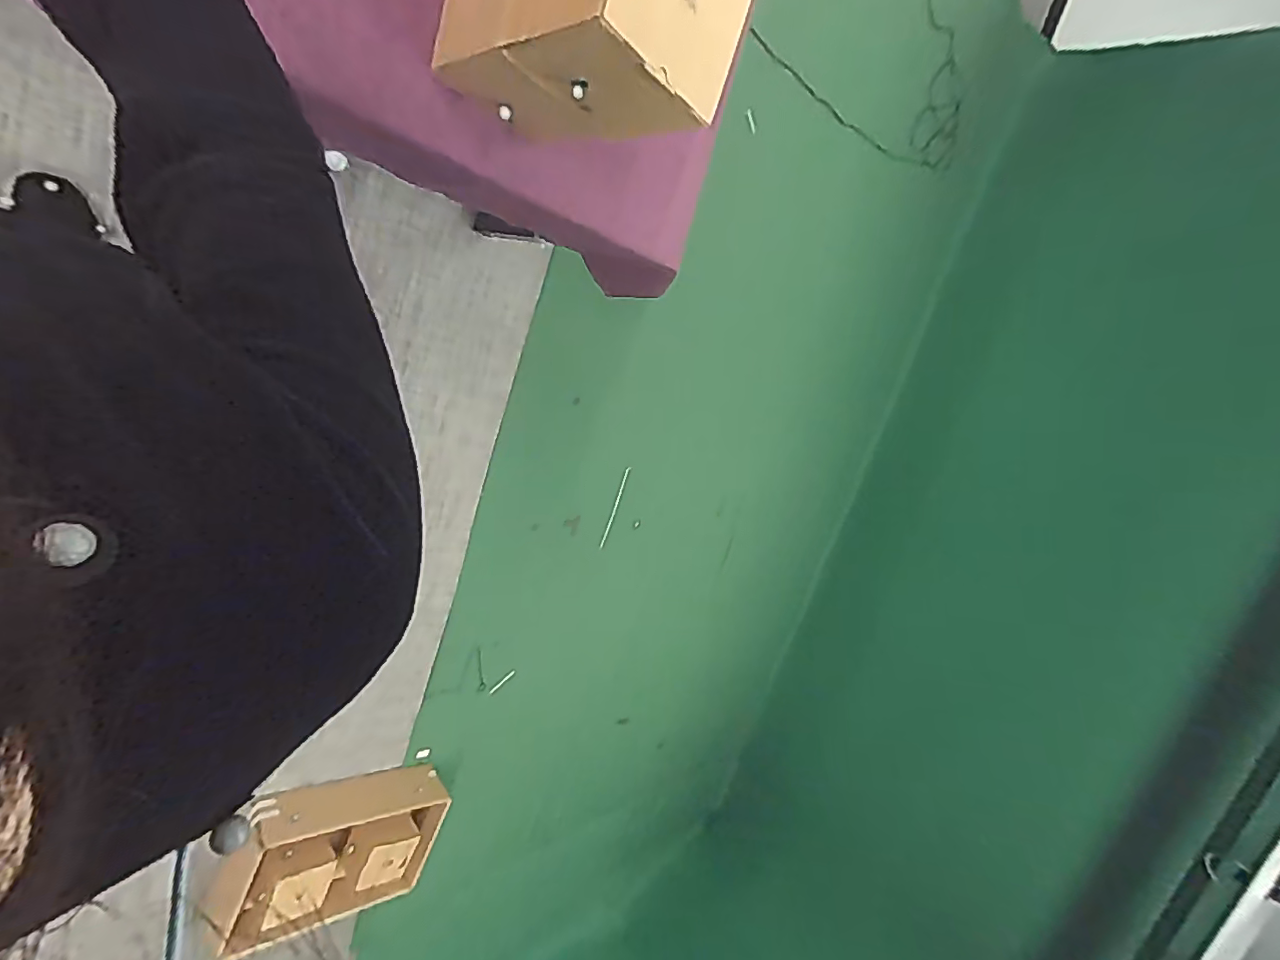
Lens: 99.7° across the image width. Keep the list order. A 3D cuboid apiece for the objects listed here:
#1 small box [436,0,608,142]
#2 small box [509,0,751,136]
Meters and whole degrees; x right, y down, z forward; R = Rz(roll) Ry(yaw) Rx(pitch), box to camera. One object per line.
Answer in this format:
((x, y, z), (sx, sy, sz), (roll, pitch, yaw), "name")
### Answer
((-0.124, -0.544, 0.656), (0.168, 0.176, 0.179), (7, 106, -48), "small box")
((-0.010, -0.487, 0.554), (0.168, 0.176, 0.179), (6, 107, -48), "small box")
